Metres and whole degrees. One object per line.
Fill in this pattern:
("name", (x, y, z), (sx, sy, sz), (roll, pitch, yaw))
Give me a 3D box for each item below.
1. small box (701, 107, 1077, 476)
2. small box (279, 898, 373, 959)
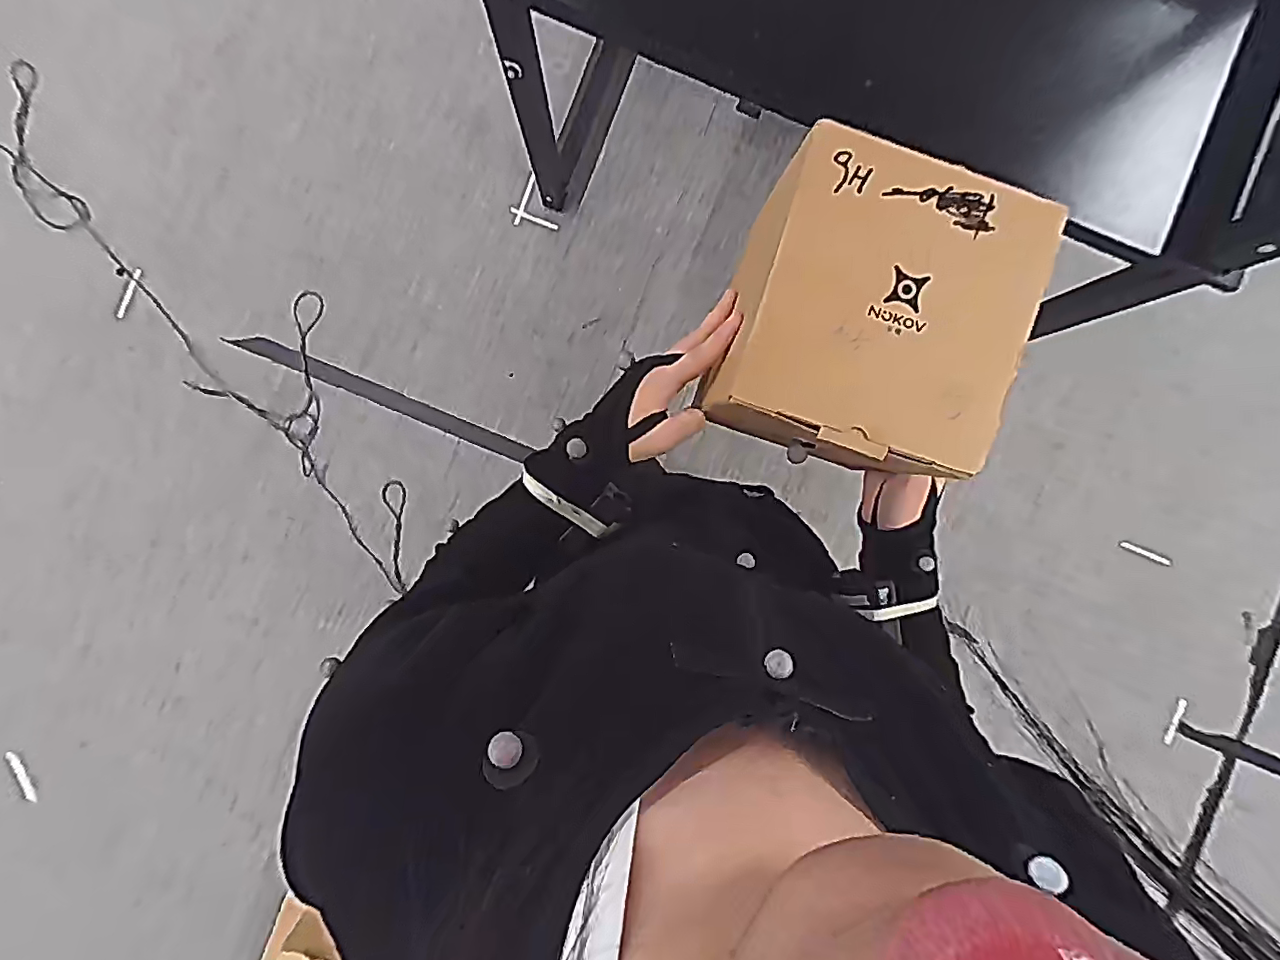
("small box", (0.152, -0.114, 0.398), (0.168, 0.176, 0.179), (17, 93, -5))
("small box", (-0.815, 1.229, 1.385), (0.168, 0.176, 0.179), (18, 91, -2))
